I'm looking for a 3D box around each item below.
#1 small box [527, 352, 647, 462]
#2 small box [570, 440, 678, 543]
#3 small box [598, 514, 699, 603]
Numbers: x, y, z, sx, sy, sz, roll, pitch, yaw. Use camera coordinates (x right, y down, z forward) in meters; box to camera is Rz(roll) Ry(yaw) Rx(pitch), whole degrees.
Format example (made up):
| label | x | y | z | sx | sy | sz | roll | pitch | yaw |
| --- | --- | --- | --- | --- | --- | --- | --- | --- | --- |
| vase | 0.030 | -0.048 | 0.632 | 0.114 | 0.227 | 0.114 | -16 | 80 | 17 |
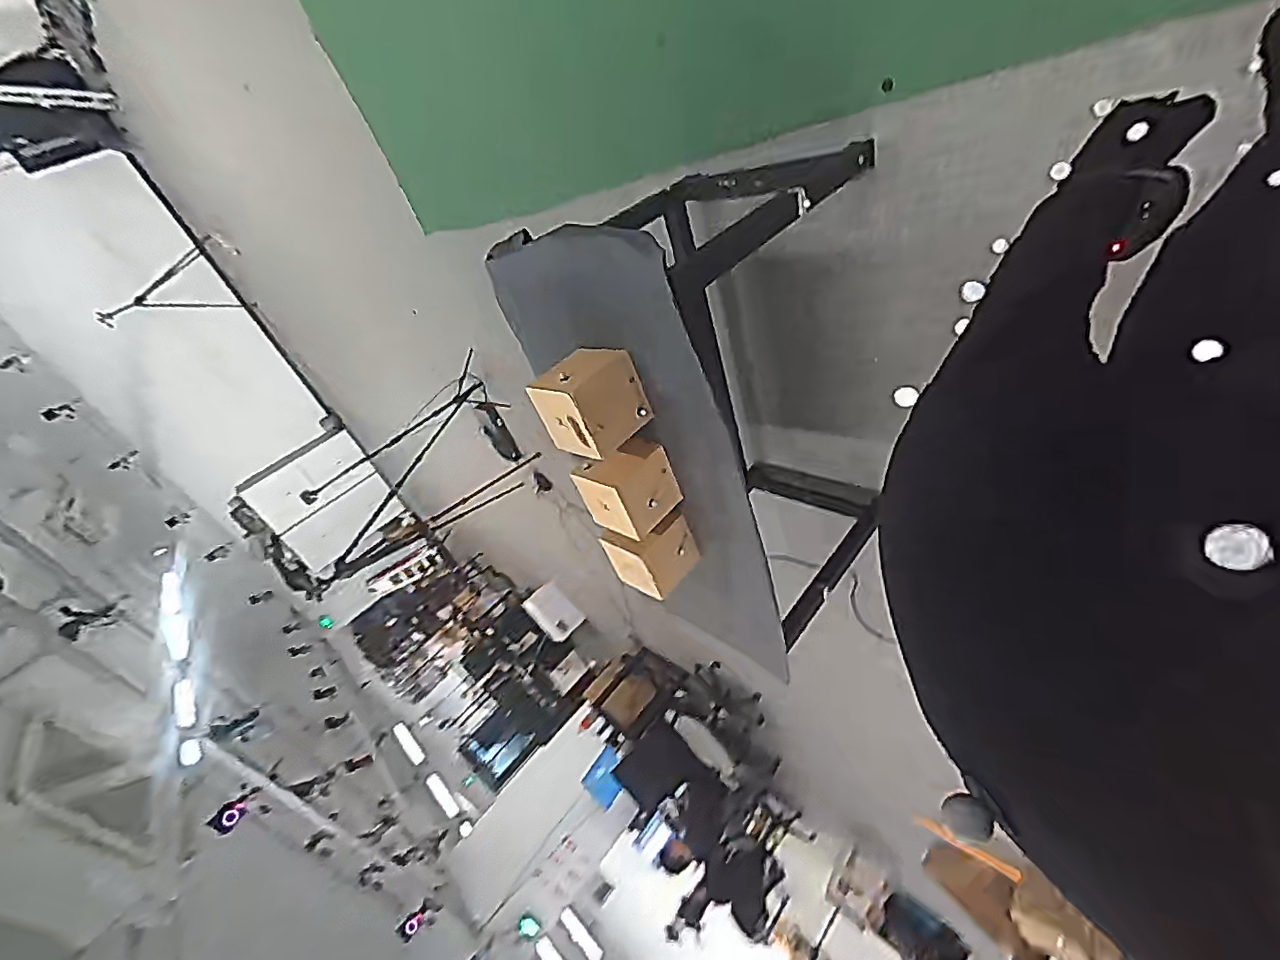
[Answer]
| label | x | y | z | sx | sy | sz | roll | pitch | yaw |
| --- | --- | --- | --- | --- | --- | --- | --- | --- | --- |
| small box | -0.106 | -0.164 | 1.172 | 0.179 | 0.176 | 0.168 | 17 | 140 | 47 |
| small box | -0.029 | 0.020 | 1.306 | 0.179 | 0.176 | 0.168 | 17 | 140 | 47 |
| small box | 0.026 | 0.189 | 1.443 | 0.179 | 0.176 | 0.168 | 16 | 139 | 47 |
